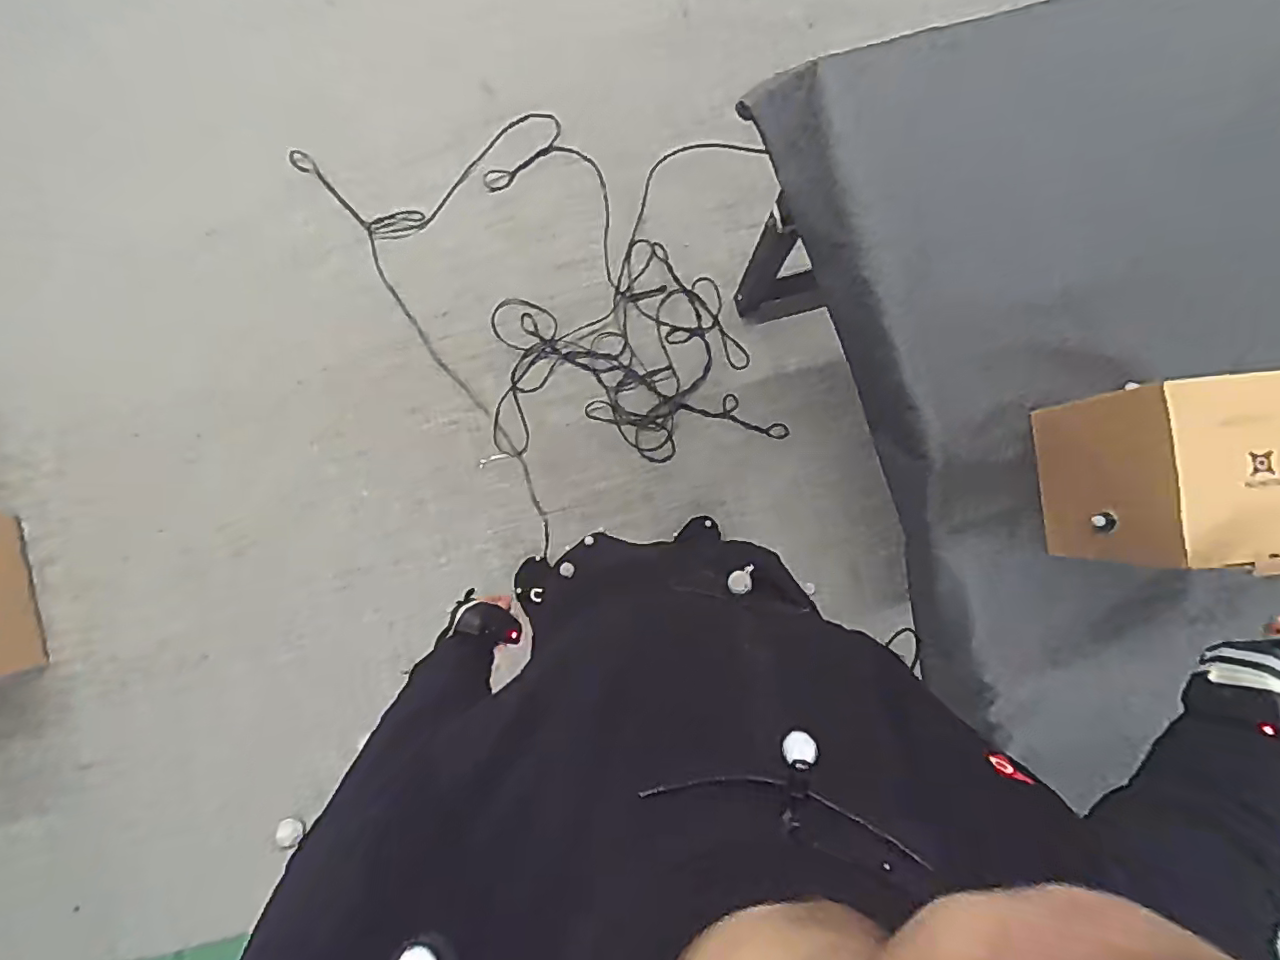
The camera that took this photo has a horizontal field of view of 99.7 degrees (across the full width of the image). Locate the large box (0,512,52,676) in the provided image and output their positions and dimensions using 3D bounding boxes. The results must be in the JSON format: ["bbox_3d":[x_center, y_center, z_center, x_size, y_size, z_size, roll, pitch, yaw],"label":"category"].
[{"bbox_3d":[-1.685,0.303,1.234,0.320,0.320,0.408,-15,86,-1],"label":"large box"}]

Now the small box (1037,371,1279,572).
[{"bbox_3d":[0.563,-0.007,0.566,0.168,0.176,0.179,-6,87,-1],"label":"small box"}]
